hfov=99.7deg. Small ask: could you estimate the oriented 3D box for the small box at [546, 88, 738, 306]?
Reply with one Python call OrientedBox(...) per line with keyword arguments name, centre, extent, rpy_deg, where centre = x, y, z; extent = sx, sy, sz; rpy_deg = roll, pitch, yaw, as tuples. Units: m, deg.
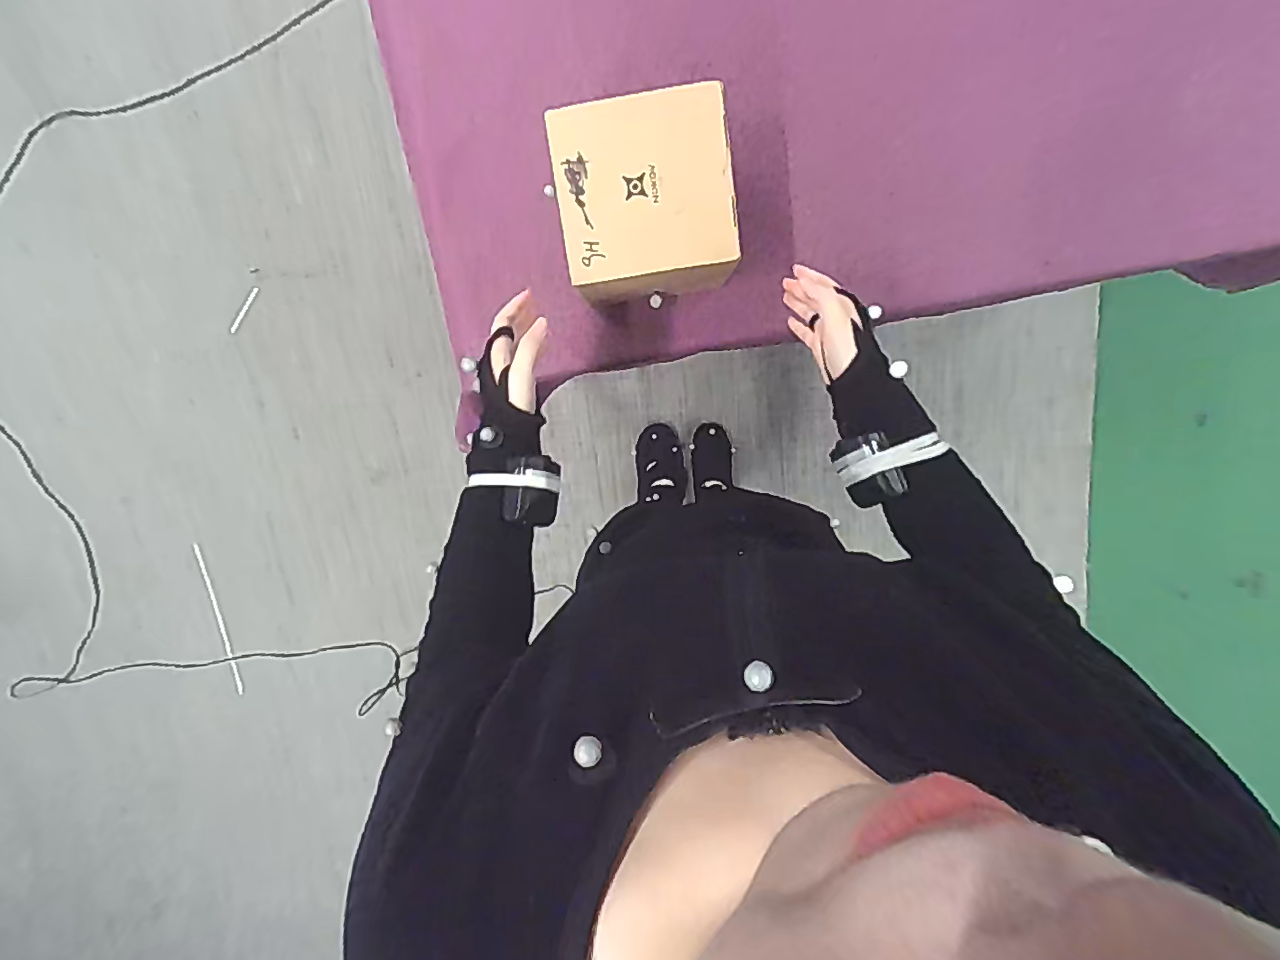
OrientedBox(name="small box", centre=(0.004, -0.301, 0.613), extent=(0.179, 0.176, 0.168), rpy_deg=(-8, 100, 3))
